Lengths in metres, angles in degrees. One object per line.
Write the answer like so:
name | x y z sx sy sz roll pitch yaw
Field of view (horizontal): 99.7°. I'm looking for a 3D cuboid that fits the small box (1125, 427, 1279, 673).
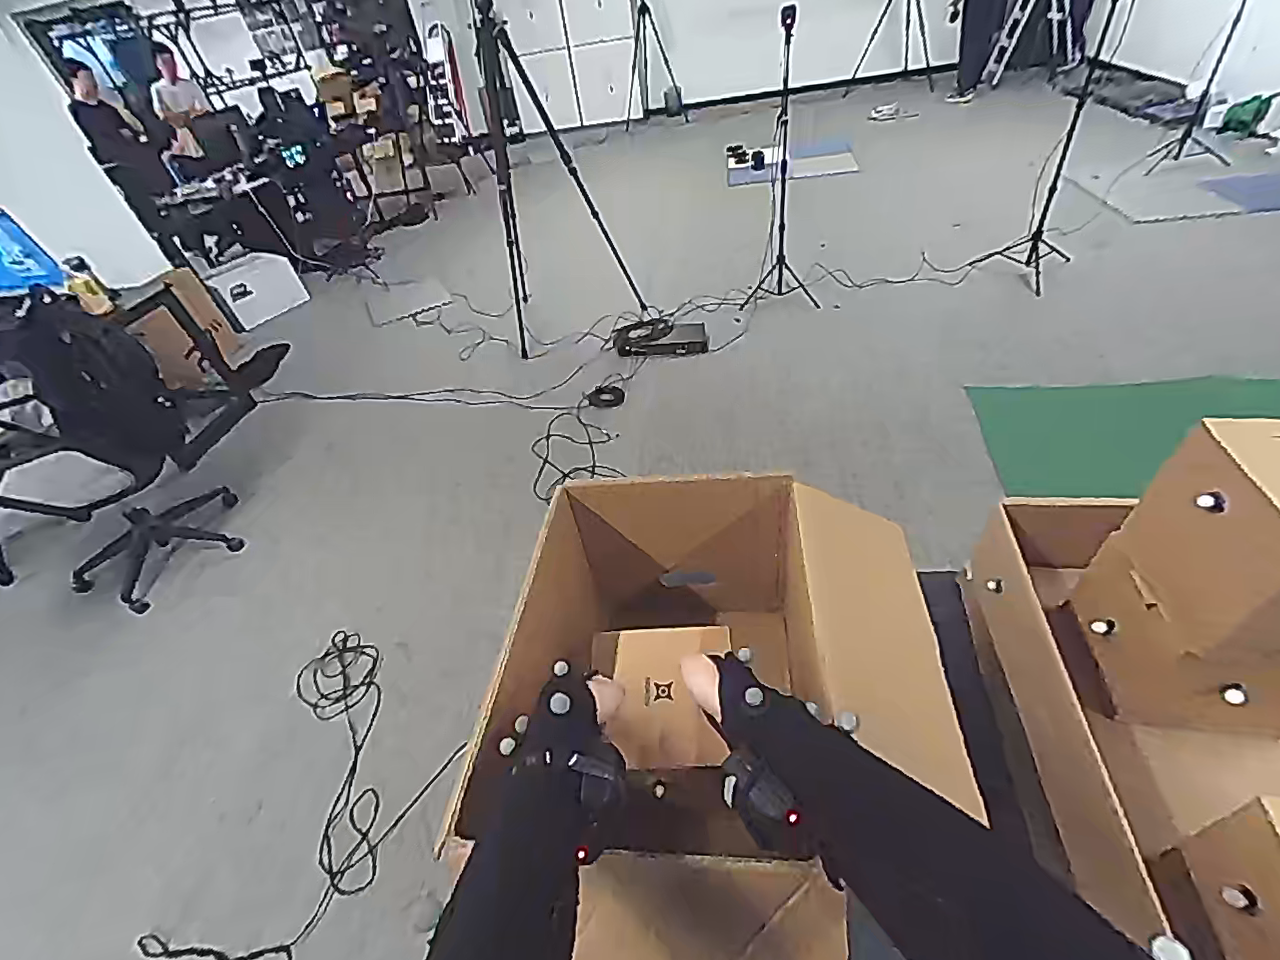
small box | 0.628 0.067 0.520 0.168 0.176 0.179 1 45 12
